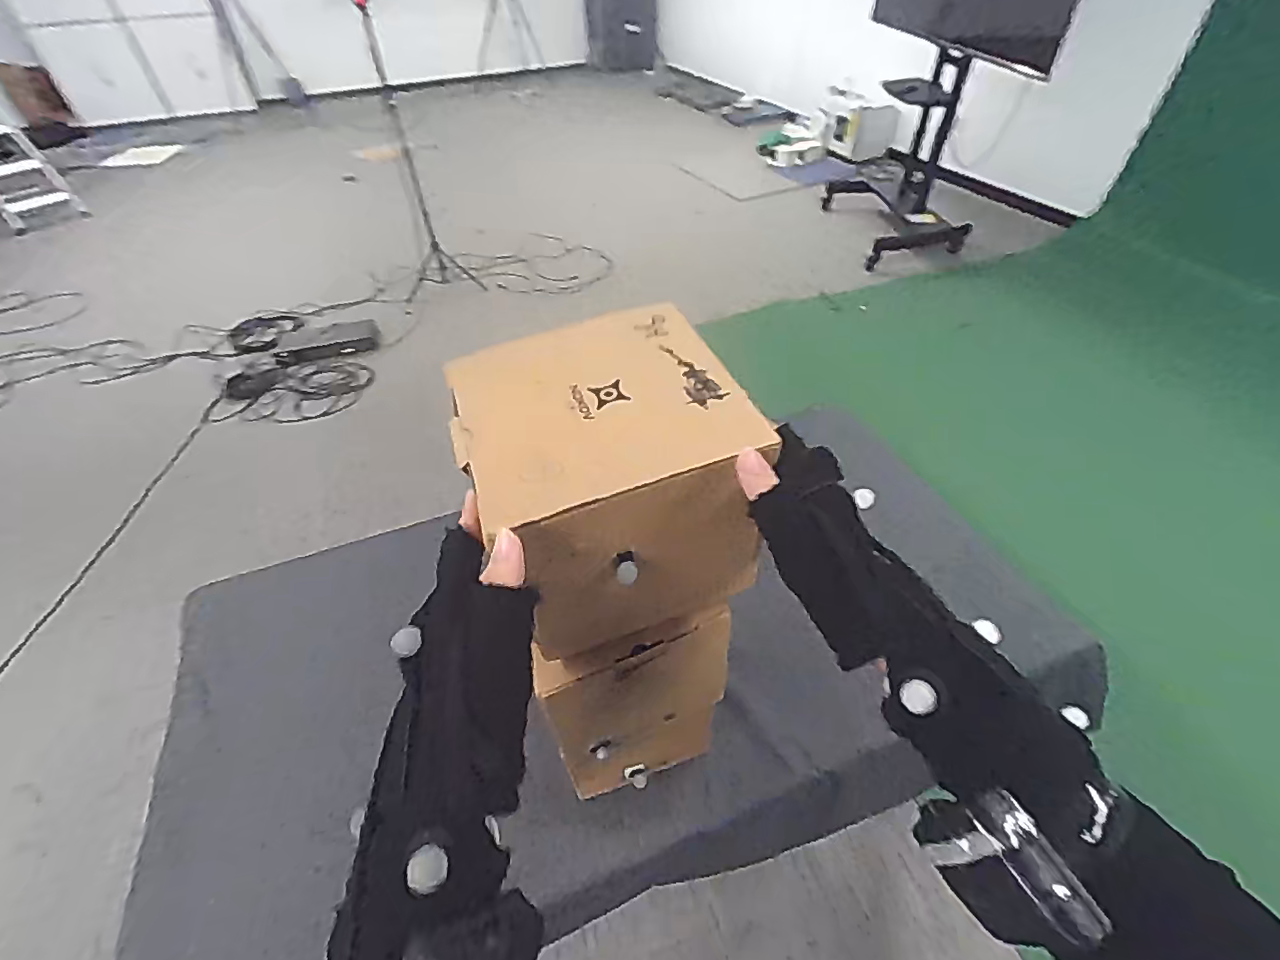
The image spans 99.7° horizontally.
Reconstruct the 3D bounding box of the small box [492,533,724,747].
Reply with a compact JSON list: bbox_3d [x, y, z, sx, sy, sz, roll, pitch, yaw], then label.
[{"bbox_3d":[-0.028,0.136,0.537,0.168,0.176,0.179,-20,45,-14],"label":"small box"}]

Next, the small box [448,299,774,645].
[{"bbox_3d":[-0.021,-0.003,0.411,0.179,0.176,0.168,-21,51,-12],"label":"small box"}]

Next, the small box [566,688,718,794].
[{"bbox_3d":[-0.018,0.244,0.661,0.168,0.176,0.179,-18,47,-11],"label":"small box"}]
